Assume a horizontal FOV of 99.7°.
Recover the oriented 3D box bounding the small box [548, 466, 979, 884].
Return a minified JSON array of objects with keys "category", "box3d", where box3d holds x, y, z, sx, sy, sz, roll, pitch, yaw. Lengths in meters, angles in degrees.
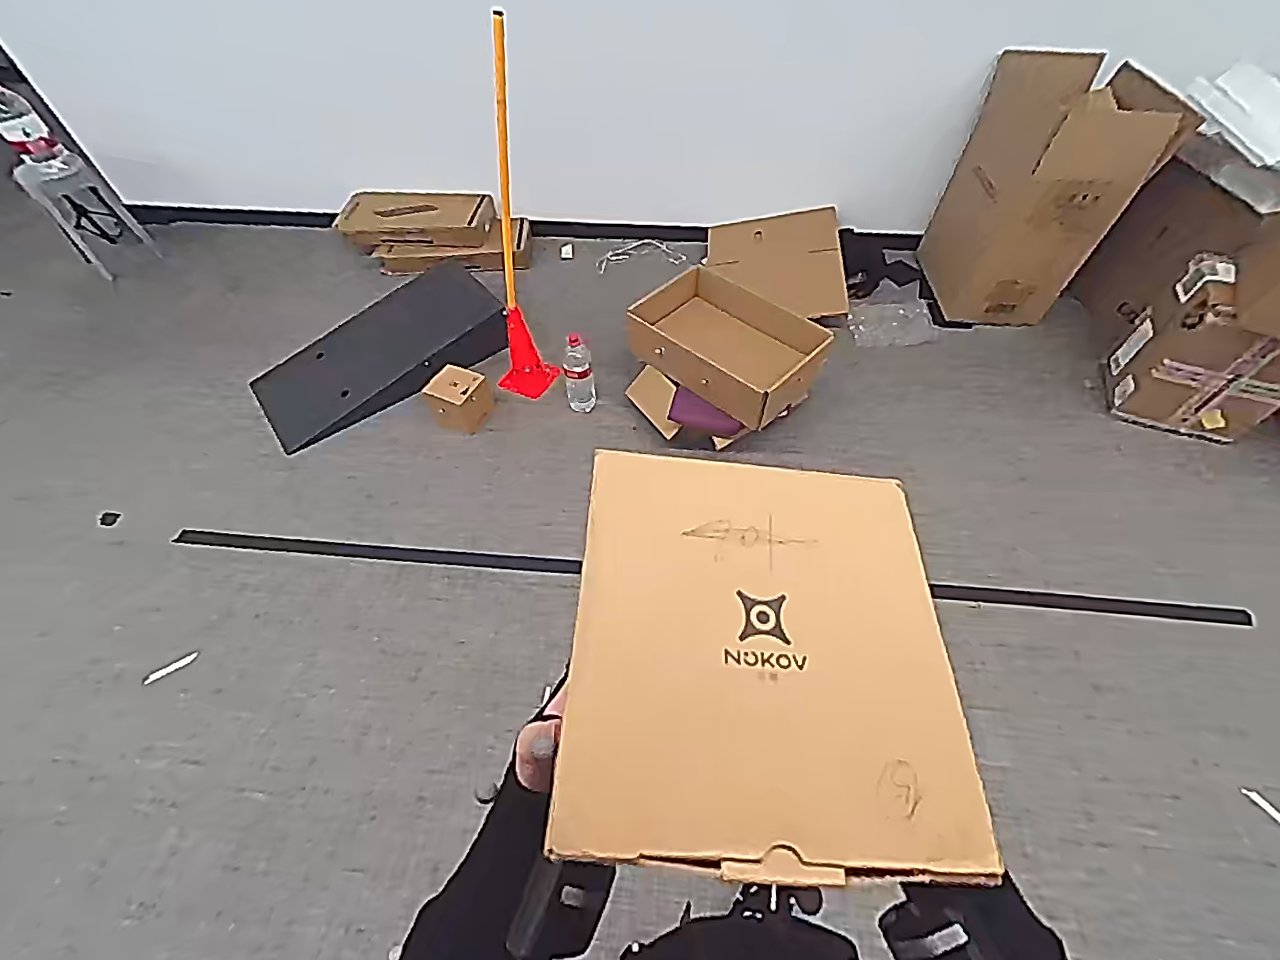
[{"category":"small box","box3d":[0.044,0.116,0.311,0.168,0.176,0.179,6,55,-4]}]
